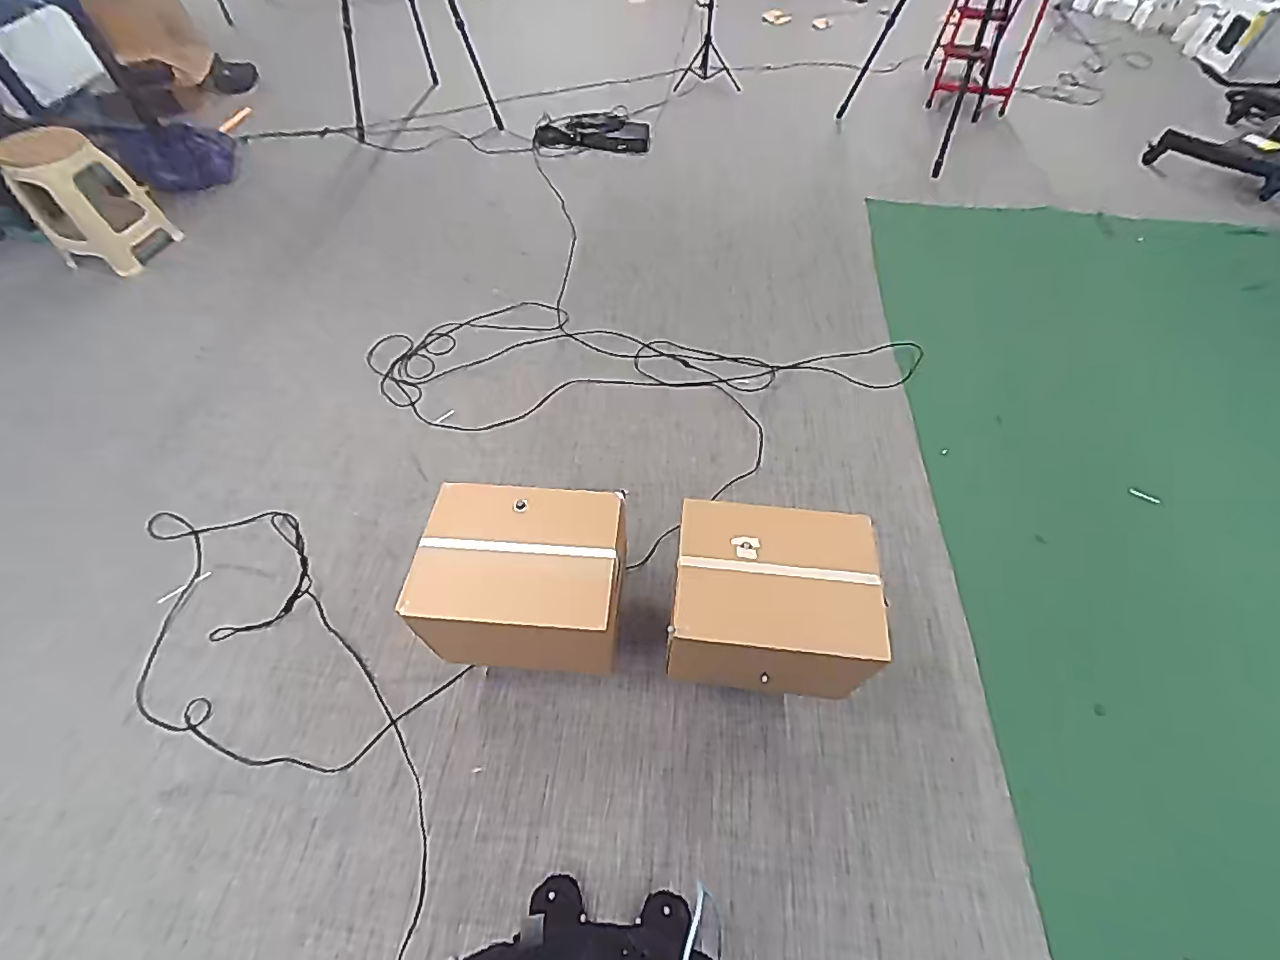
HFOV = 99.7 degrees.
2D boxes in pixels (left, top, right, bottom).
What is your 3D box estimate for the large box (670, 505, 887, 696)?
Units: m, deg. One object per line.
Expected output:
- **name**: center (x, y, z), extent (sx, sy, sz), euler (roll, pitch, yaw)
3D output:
- **large box**: center (0.283, 0.280, 1.222), extent (0.408, 0.320, 0.320), euler (6, 55, 4)
